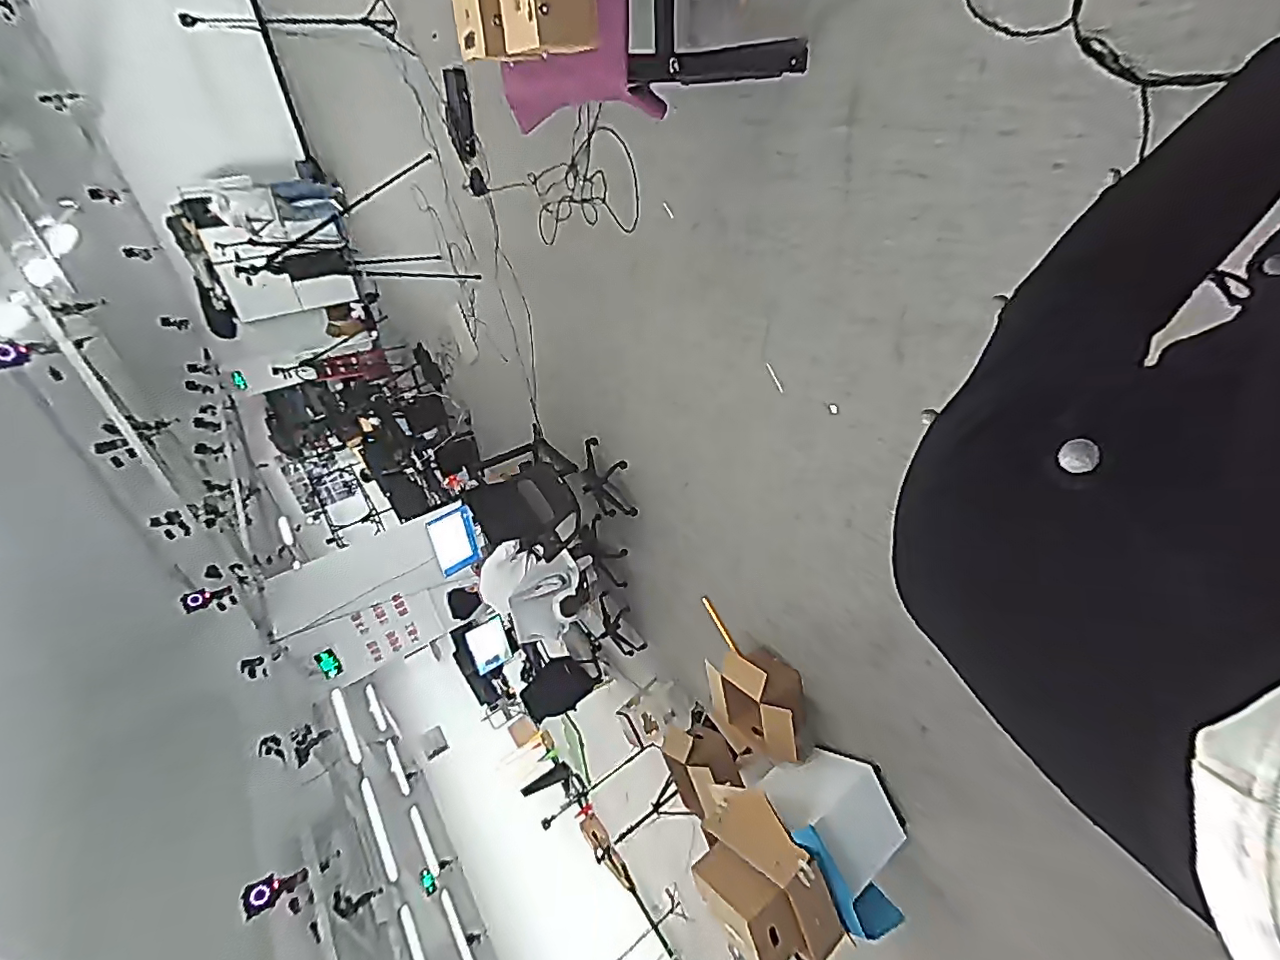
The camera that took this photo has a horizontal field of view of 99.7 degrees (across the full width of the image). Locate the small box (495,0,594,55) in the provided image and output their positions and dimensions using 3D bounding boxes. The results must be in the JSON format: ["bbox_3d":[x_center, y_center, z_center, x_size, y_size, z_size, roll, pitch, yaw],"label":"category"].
[{"bbox_3d":[-0.224,-1.095,1.253,0.179,0.176,0.168,37,143,43],"label":"small box"}]

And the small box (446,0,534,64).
[{"bbox_3d":[-0.398,-1.229,1.444,0.168,0.176,0.179,37,141,41],"label":"small box"}]
